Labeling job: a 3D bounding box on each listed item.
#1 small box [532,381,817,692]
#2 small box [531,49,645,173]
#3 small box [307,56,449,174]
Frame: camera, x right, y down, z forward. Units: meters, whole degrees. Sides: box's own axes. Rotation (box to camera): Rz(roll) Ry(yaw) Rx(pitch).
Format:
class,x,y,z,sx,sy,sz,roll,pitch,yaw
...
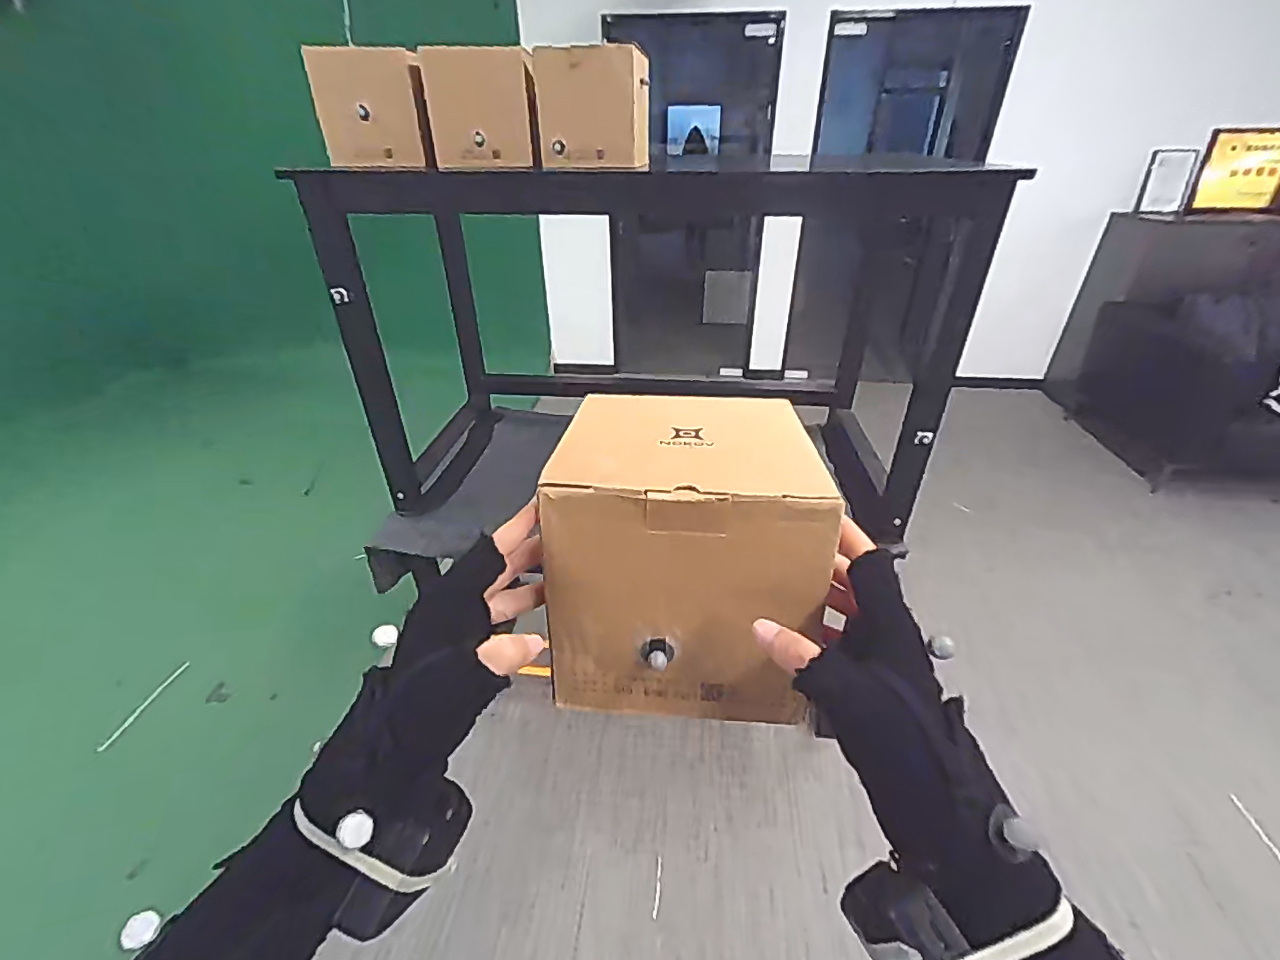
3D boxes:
class,x,y,z,sx,sy,sz,roll,pitch,yaw
small box,0.023,0.030,0.412,0.168,0.176,0.179,2,25,4
small box,-0.082,-0.648,0.966,0.168,0.176,0.179,4,32,7
small box,-0.463,-0.661,0.992,0.168,0.176,0.179,0,31,-2
